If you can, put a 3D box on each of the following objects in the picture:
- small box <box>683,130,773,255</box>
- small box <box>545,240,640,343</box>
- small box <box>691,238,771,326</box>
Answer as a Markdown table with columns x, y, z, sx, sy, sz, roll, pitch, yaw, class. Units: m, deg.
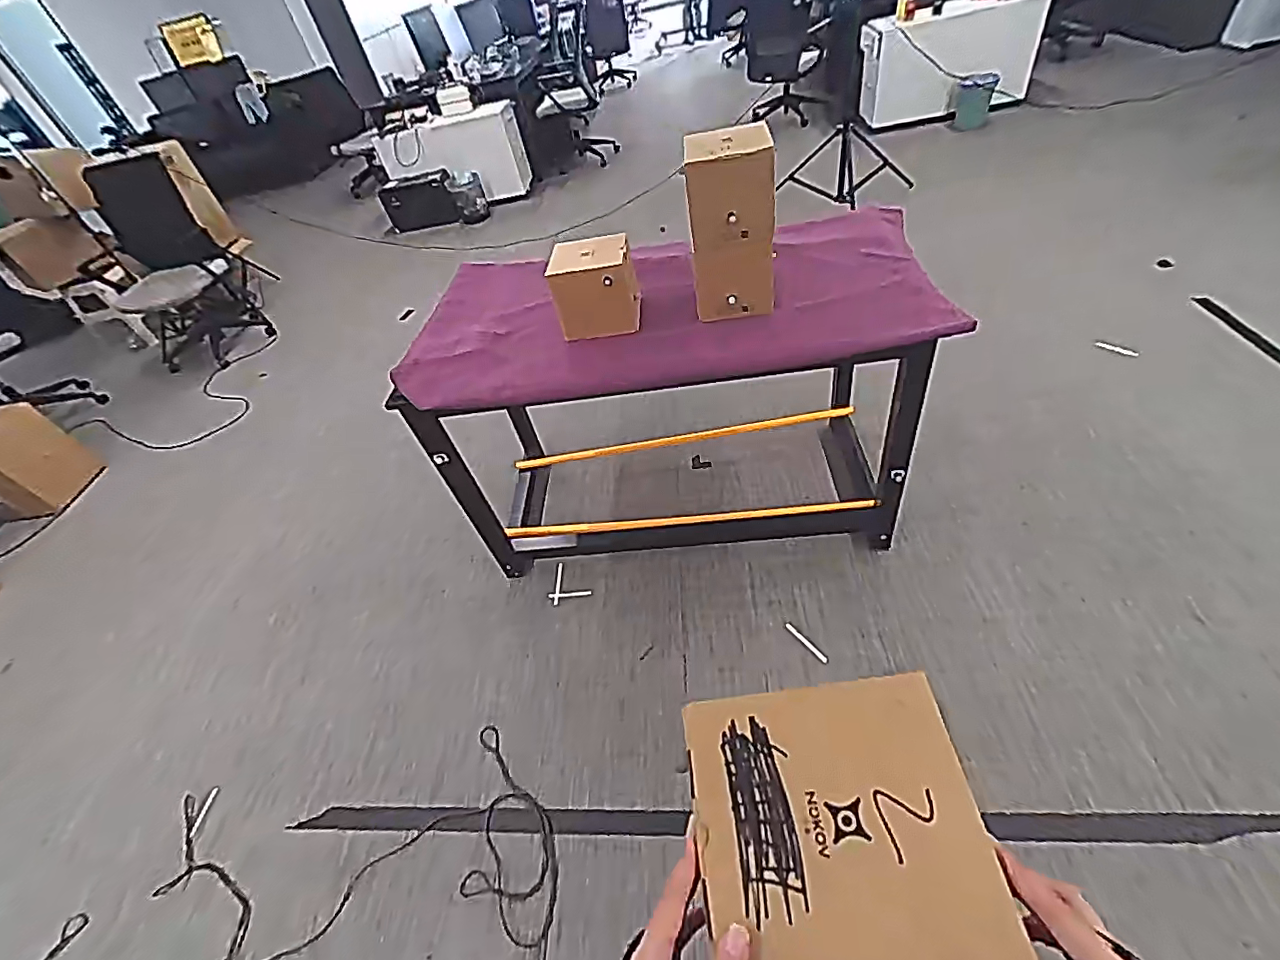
| x | y | z | sx | sy | sz | roll | pitch | yaw | class |
| --- | --- | --- | --- | --- | --- | --- | --- | --- | --- |
| 0.181 | -0.586 | 1.106 | 0.168 | 0.176 | 0.179 | -5 | 46 | 10 | small box |
| -0.103 | -0.438 | 1.270 | 0.179 | 0.176 | 0.168 | -5 | 45 | 8 | small box |
| 0.205 | -0.472 | 1.224 | 0.168 | 0.176 | 0.179 | -5 | 46 | 10 | small box |
